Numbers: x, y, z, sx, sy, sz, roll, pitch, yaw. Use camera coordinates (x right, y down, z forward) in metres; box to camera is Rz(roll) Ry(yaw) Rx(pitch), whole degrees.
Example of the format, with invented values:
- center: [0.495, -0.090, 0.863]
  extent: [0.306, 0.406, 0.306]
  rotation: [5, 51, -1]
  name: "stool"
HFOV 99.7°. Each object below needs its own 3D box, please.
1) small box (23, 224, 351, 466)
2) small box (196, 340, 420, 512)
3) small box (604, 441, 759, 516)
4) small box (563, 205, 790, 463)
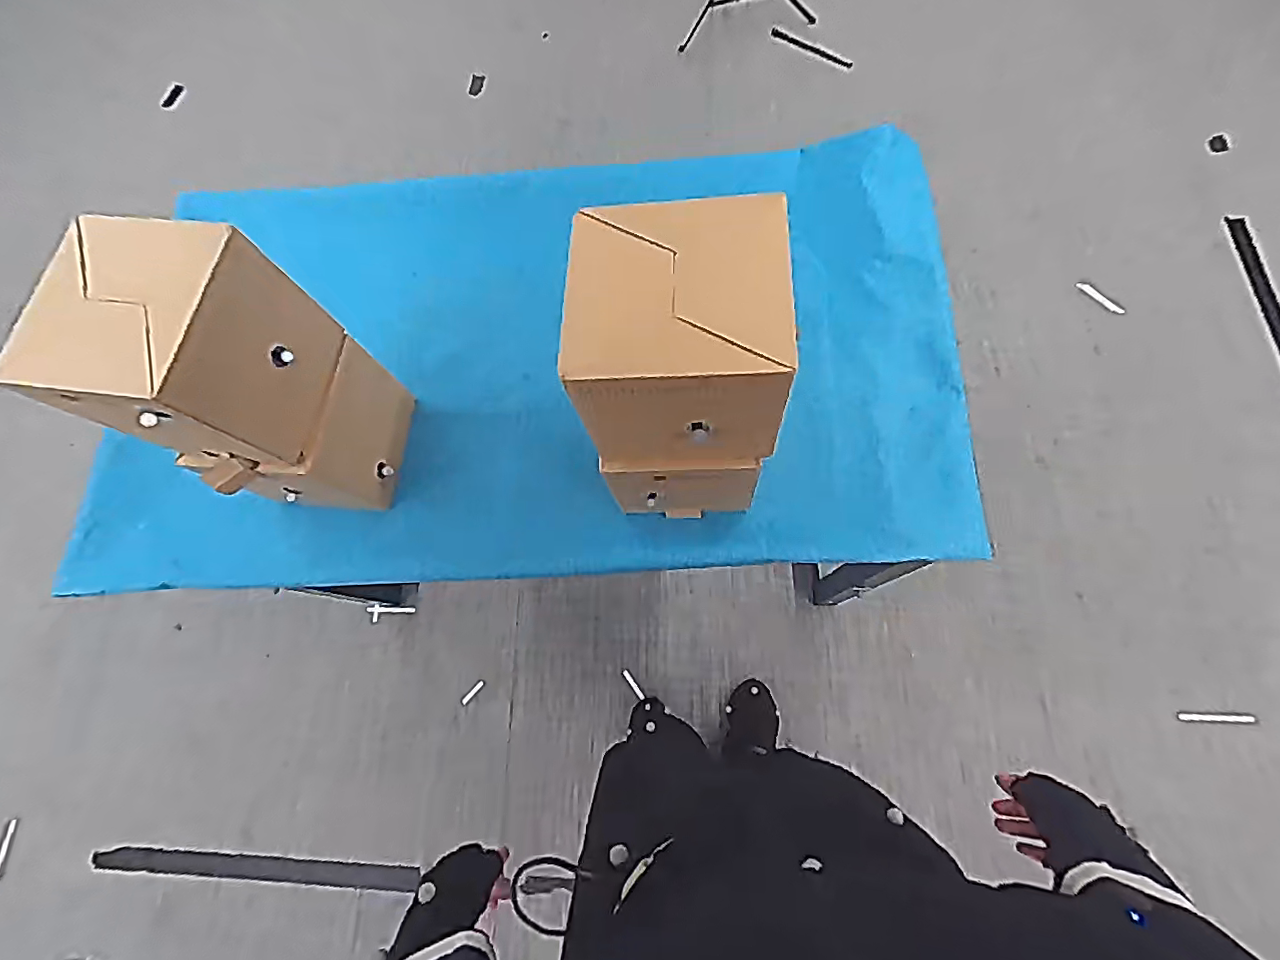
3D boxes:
- center: [-0.440, -0.128, 0.549]
  extent: [0.168, 0.176, 0.179]
  rotation: [7, 74, 8]
  name: "small box"
- center: [-0.417, -0.066, 0.701]
  extent: [0.168, 0.176, 0.179]
  rotation: [3, 72, 6]
  name: "small box"
- center: [0.050, -0.065, 0.653]
  extent: [0.168, 0.176, 0.179]
  rotation: [-2, 71, 5]
  name: "small box"
- center: [0.040, -0.124, 0.500]
  extent: [0.179, 0.176, 0.168]
  rotation: [-1, 70, 8]
  name: "small box"
